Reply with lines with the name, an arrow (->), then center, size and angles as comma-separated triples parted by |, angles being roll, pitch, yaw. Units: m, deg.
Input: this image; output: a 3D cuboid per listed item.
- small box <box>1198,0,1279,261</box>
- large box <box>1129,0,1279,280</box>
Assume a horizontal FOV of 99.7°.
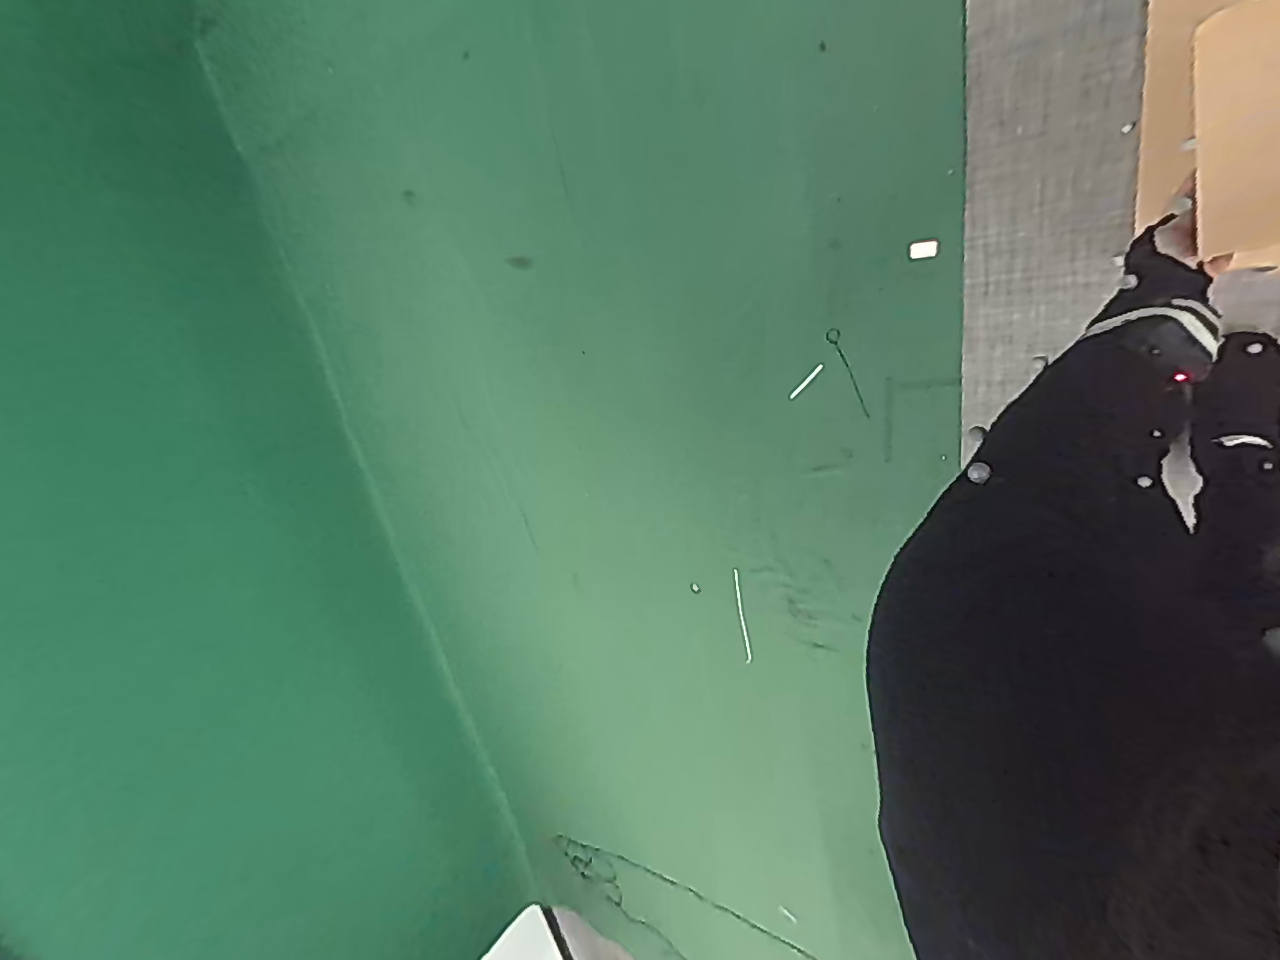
small box -> 0.551, -0.289, 0.413 | 0.168, 0.176, 0.179 | 1, 112, 48
large box -> 0.817, -0.498, 0.662 | 0.320, 0.320, 0.408 | 2, 114, 40
